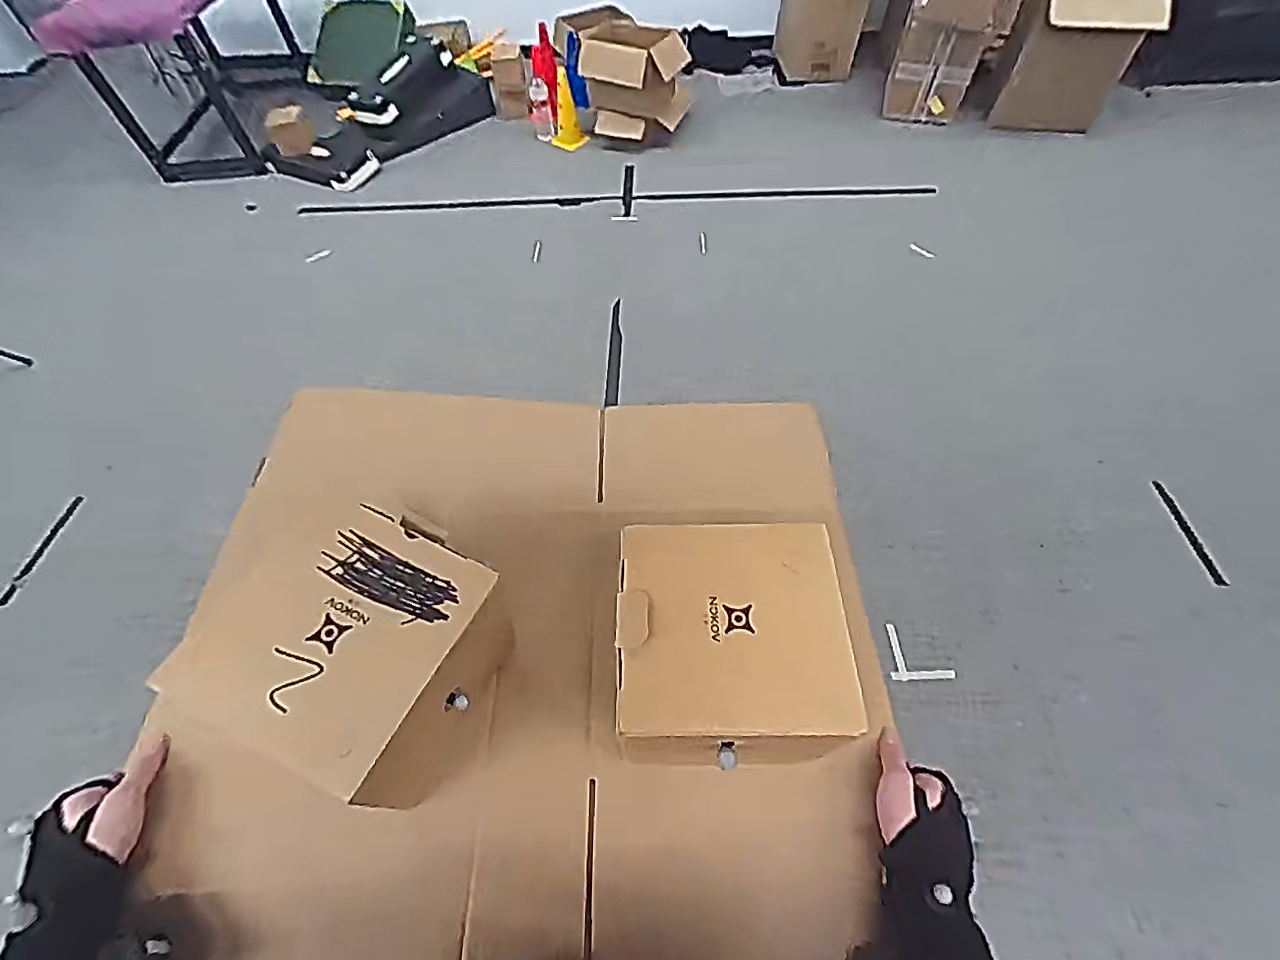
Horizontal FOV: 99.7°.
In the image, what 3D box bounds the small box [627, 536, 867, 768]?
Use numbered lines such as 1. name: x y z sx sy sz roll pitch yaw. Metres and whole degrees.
1. small box: 0.079 0.162 0.497 0.179 0.176 0.168 -1 56 2
